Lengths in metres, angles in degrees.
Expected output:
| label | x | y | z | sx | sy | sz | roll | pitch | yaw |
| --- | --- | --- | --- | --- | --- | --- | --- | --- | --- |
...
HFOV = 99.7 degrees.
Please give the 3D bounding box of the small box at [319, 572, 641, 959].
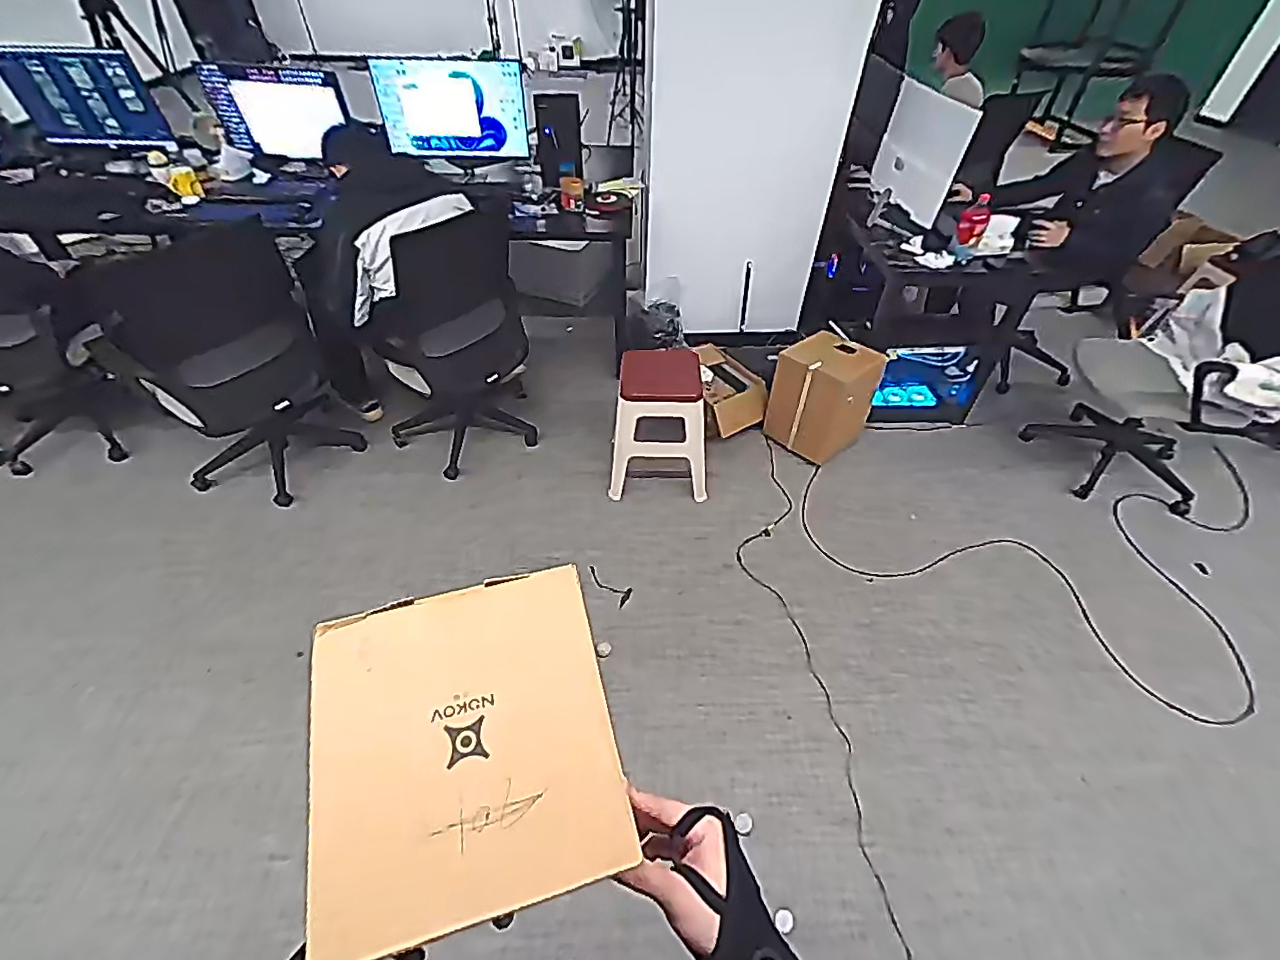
| label | x | y | z | sx | sy | sz | roll | pitch | yaw |
| --- | --- | --- | --- | --- | --- | --- | --- | --- | --- |
| small box | -0.104 | 0.191 | 0.387 | 0.168 | 0.176 | 0.179 | -12 | 61 | -10 |
